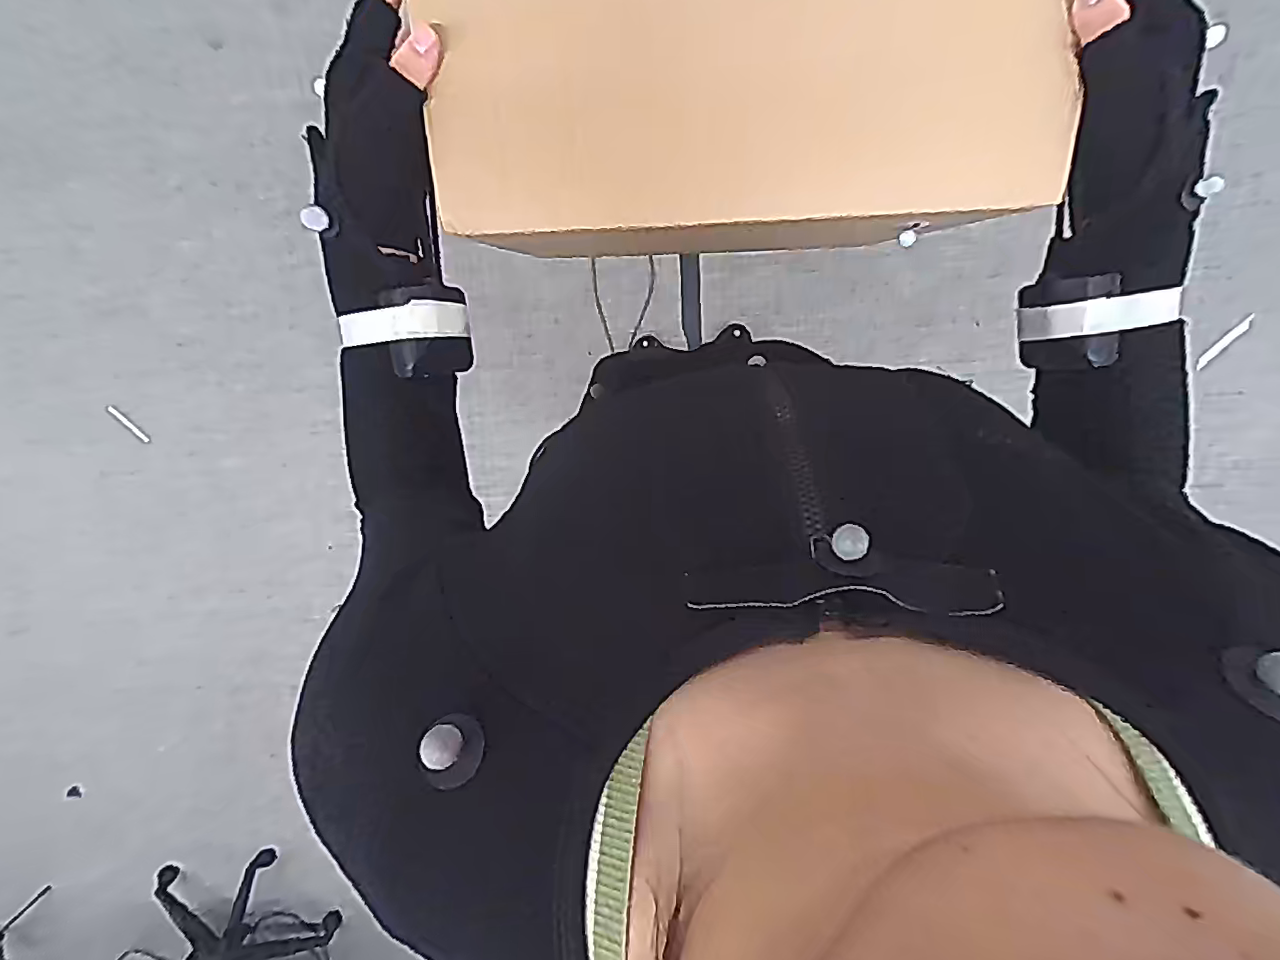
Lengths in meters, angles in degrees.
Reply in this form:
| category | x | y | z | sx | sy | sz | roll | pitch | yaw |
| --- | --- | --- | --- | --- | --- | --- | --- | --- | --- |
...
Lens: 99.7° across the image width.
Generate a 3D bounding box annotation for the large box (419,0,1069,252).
| category | x | y | z | sx | sy | sz | roll | pitch | yaw |
| --- | --- | --- | --- | --- | --- | --- | --- | --- | --- |
| large box | 0.065 | -0.374 | 0.458 | 0.408 | 0.320 | 0.320 | -2 | 109 | 2 |
